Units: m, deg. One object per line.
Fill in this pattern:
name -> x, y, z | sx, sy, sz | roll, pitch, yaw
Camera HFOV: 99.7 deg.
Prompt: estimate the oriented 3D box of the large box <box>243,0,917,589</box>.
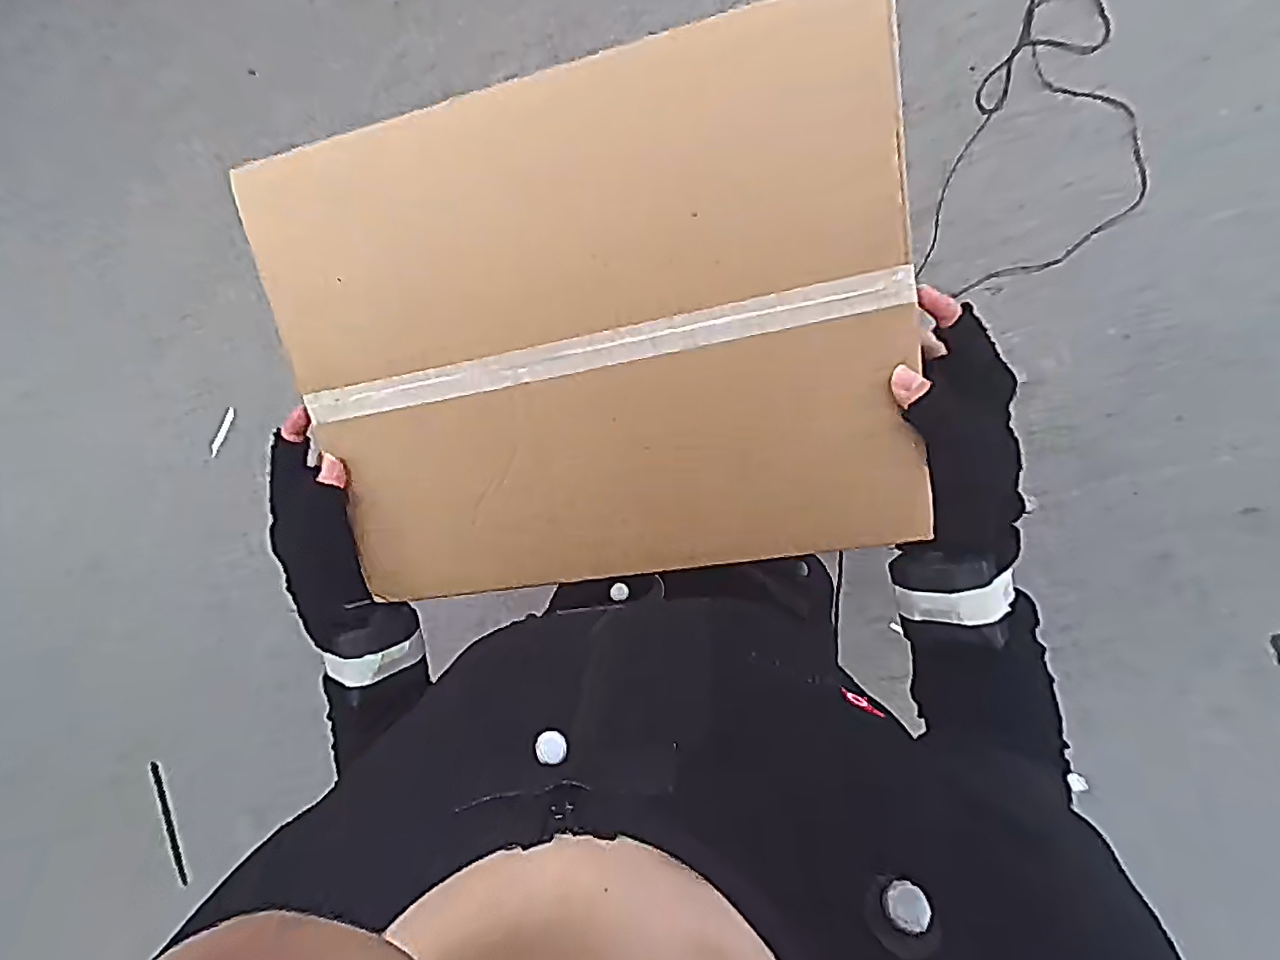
large box -> -0.018, -0.131, 0.493 | 0.408, 0.320, 0.320 | -9, 104, 11
